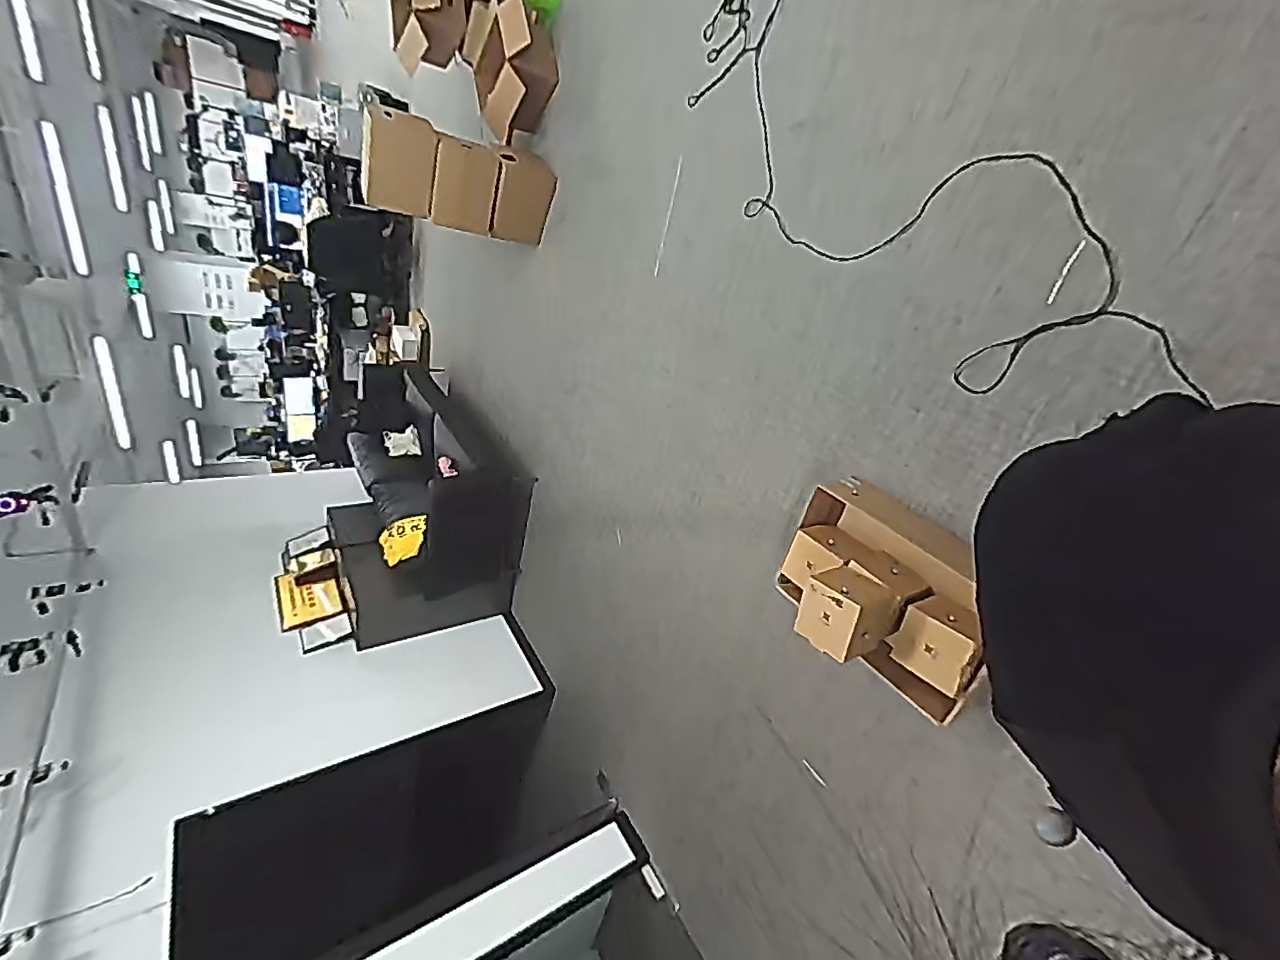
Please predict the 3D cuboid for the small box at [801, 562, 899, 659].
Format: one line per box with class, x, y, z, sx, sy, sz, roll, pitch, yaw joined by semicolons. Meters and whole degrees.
small box;0.568;0.344;1.460;0.168;0.176;0.179;31;120;48
